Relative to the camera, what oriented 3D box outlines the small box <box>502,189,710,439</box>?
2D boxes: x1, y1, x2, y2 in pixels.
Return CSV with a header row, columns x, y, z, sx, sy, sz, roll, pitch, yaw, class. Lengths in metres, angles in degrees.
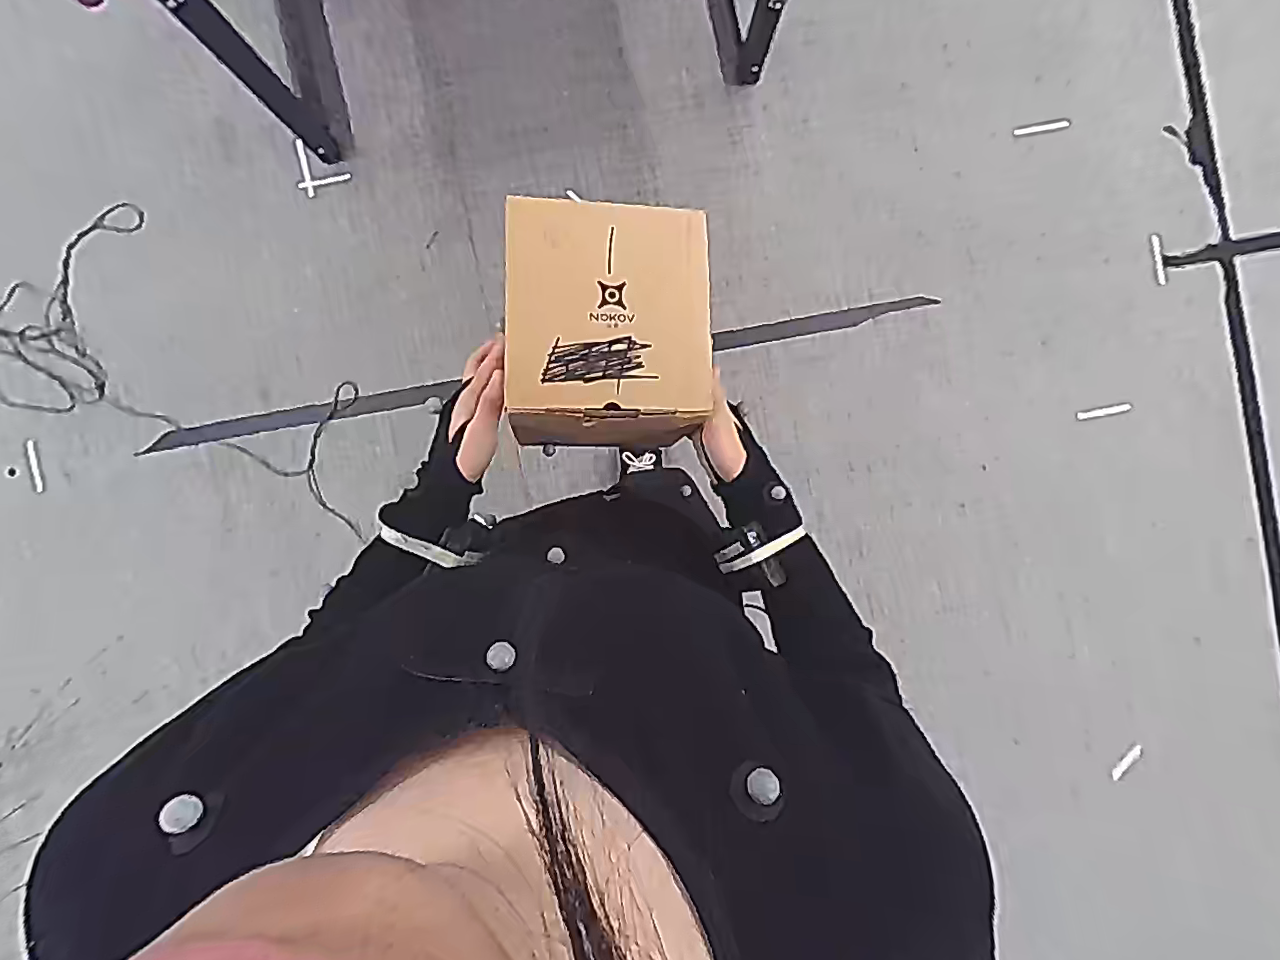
x,y,z,sx,sy,sz,roll,pitch,yaw,class
-0.036,-0.136,0.507,0.168,0.176,0.179,0,83,-9,small box
